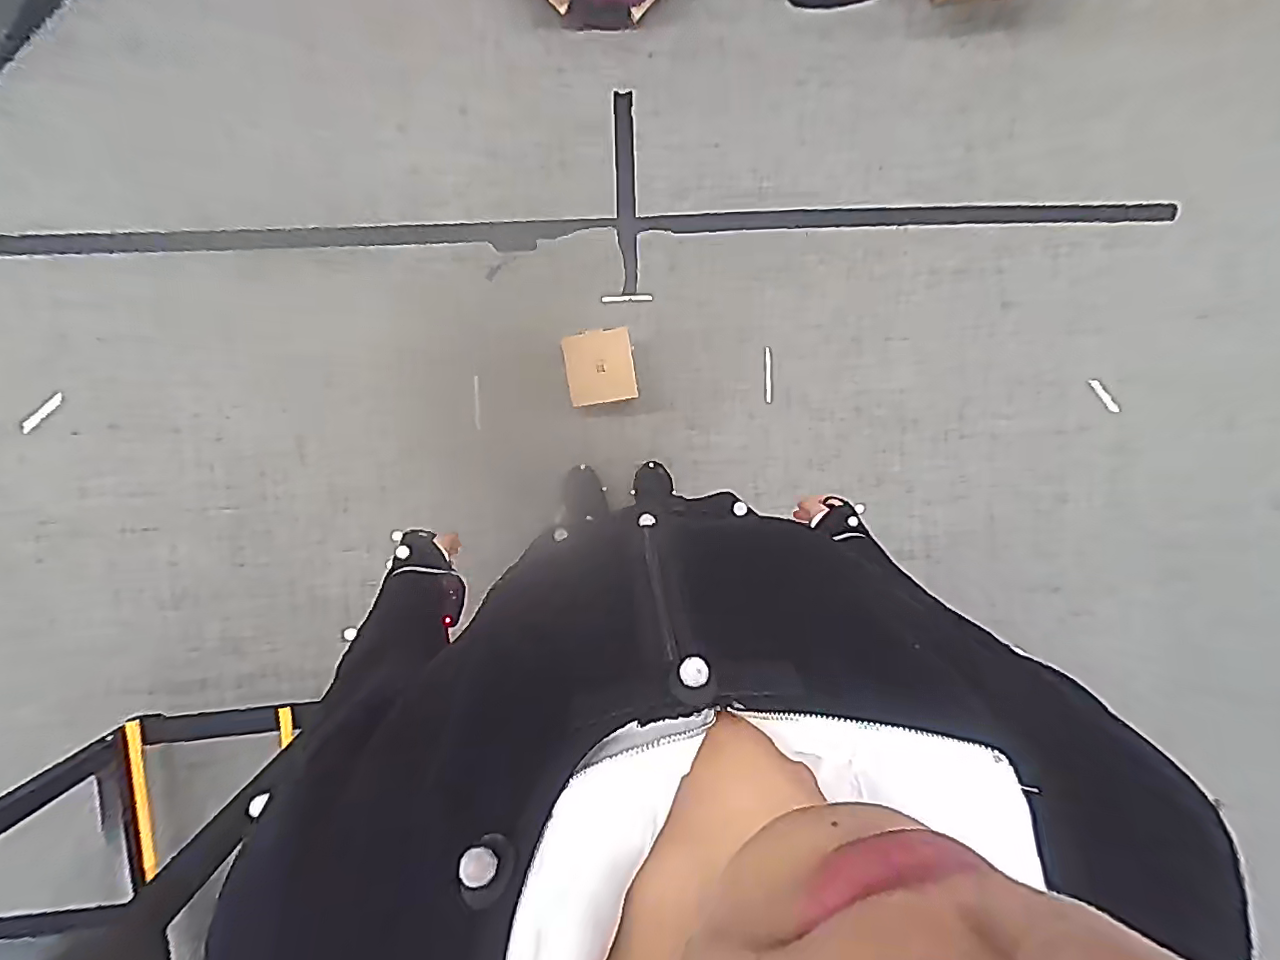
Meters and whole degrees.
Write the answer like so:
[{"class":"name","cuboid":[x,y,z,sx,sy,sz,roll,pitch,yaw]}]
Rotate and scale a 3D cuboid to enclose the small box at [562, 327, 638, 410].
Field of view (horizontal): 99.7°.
[{"class":"small box","cuboid":[-0.103,-0.280,1.390,0.168,0.176,0.179,-10,96,-3]}]
